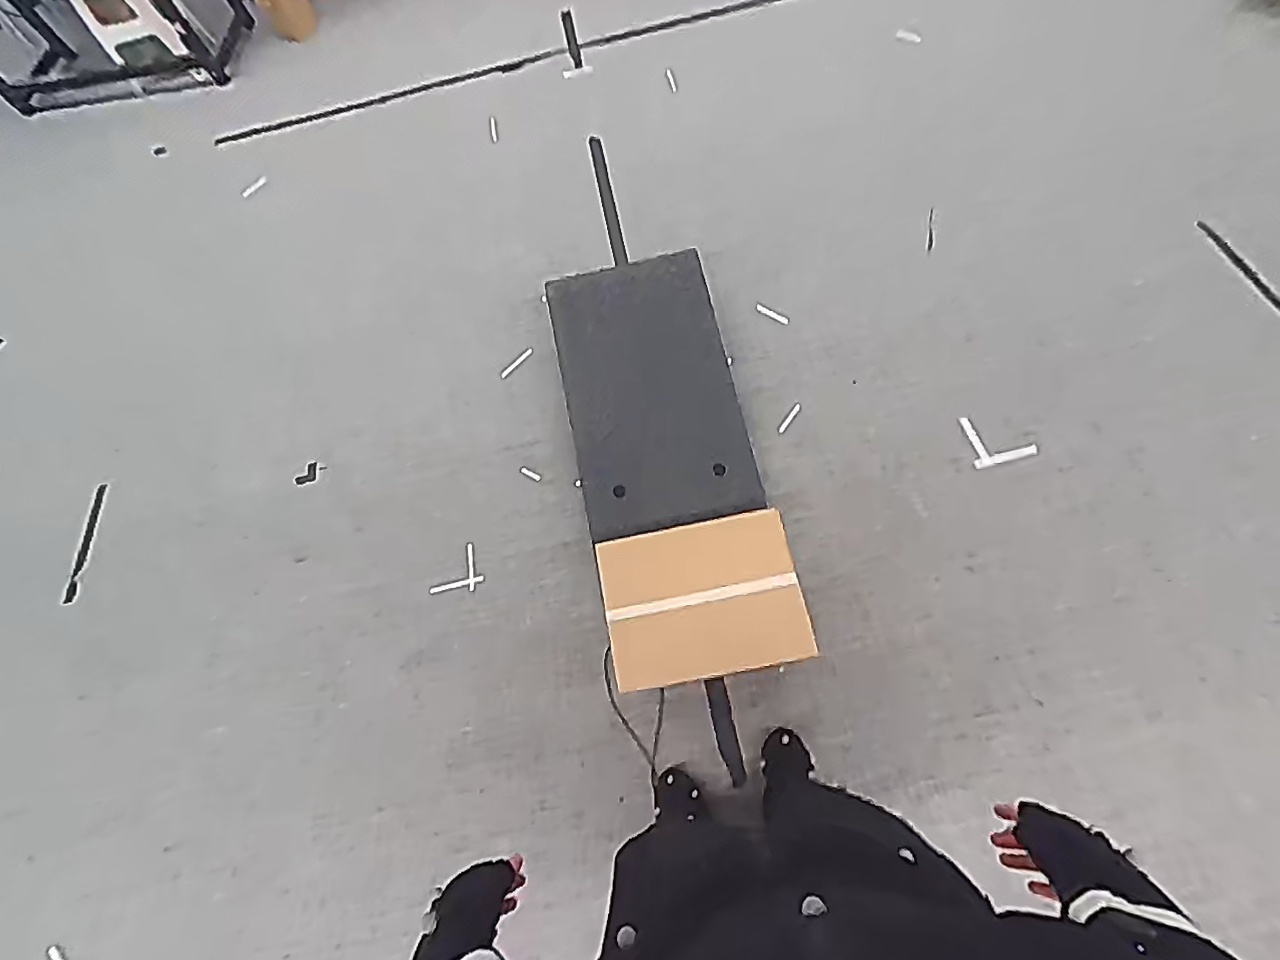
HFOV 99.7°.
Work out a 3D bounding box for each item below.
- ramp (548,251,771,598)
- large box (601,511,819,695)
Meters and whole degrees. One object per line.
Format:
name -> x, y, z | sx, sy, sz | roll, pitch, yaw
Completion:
ramp -> 0.049, -0.194, 1.576 | 0.509, 0.206, 0.991 | -14, 65, 0
large box -> 0.152, 0.299, 1.268 | 0.408, 0.320, 0.320 | -12, 68, 2
